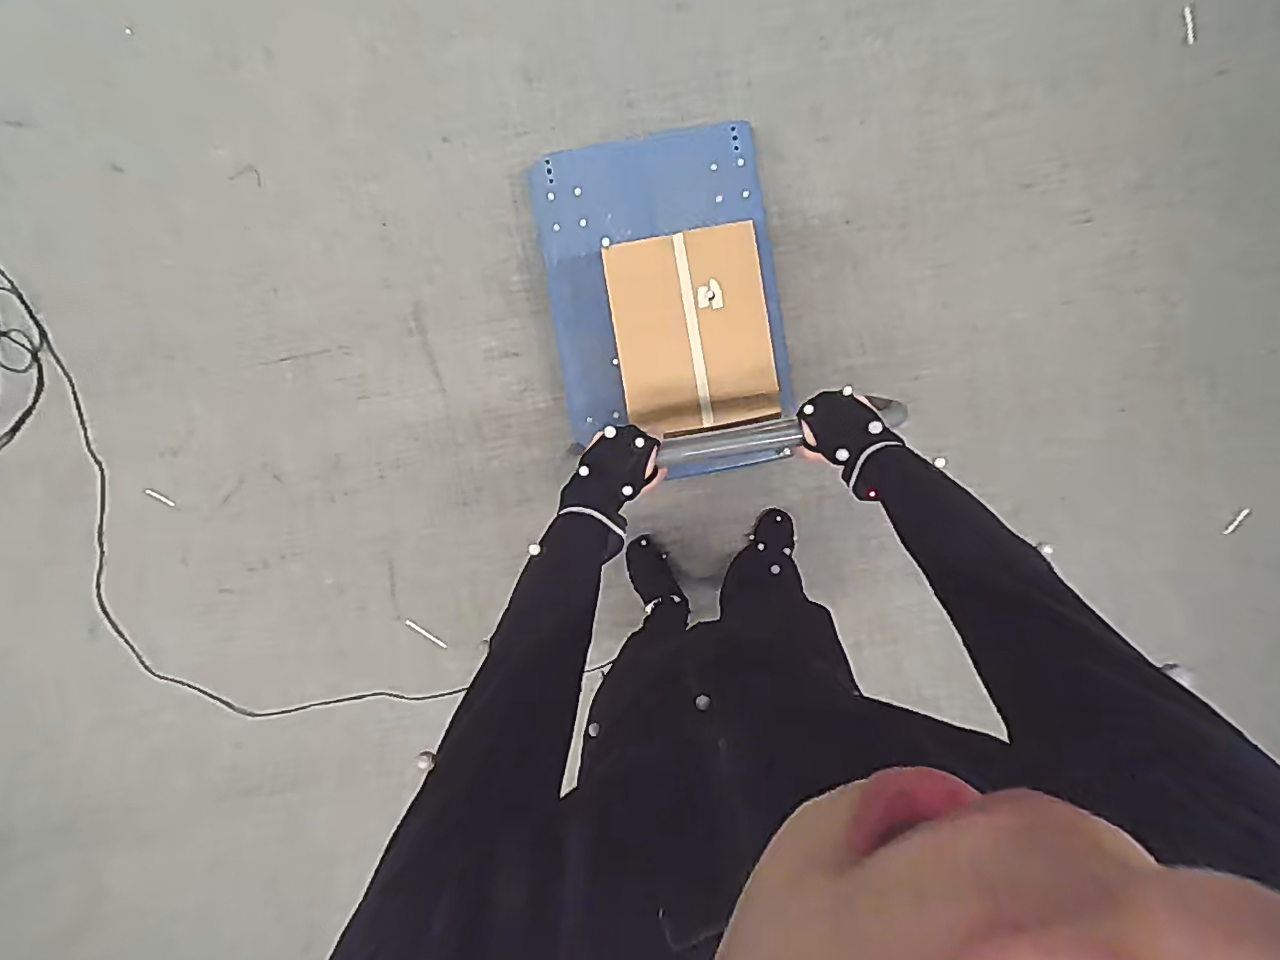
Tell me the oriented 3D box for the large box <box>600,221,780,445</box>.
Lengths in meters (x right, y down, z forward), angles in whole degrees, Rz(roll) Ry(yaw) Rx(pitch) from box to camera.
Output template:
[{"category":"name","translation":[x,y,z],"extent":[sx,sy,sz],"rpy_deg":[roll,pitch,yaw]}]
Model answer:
[{"category":"large box","translation":[0.106,-0.308,1.247],"extent":[0.320,0.320,0.408],"rpy_deg":[-9,92,0]}]
